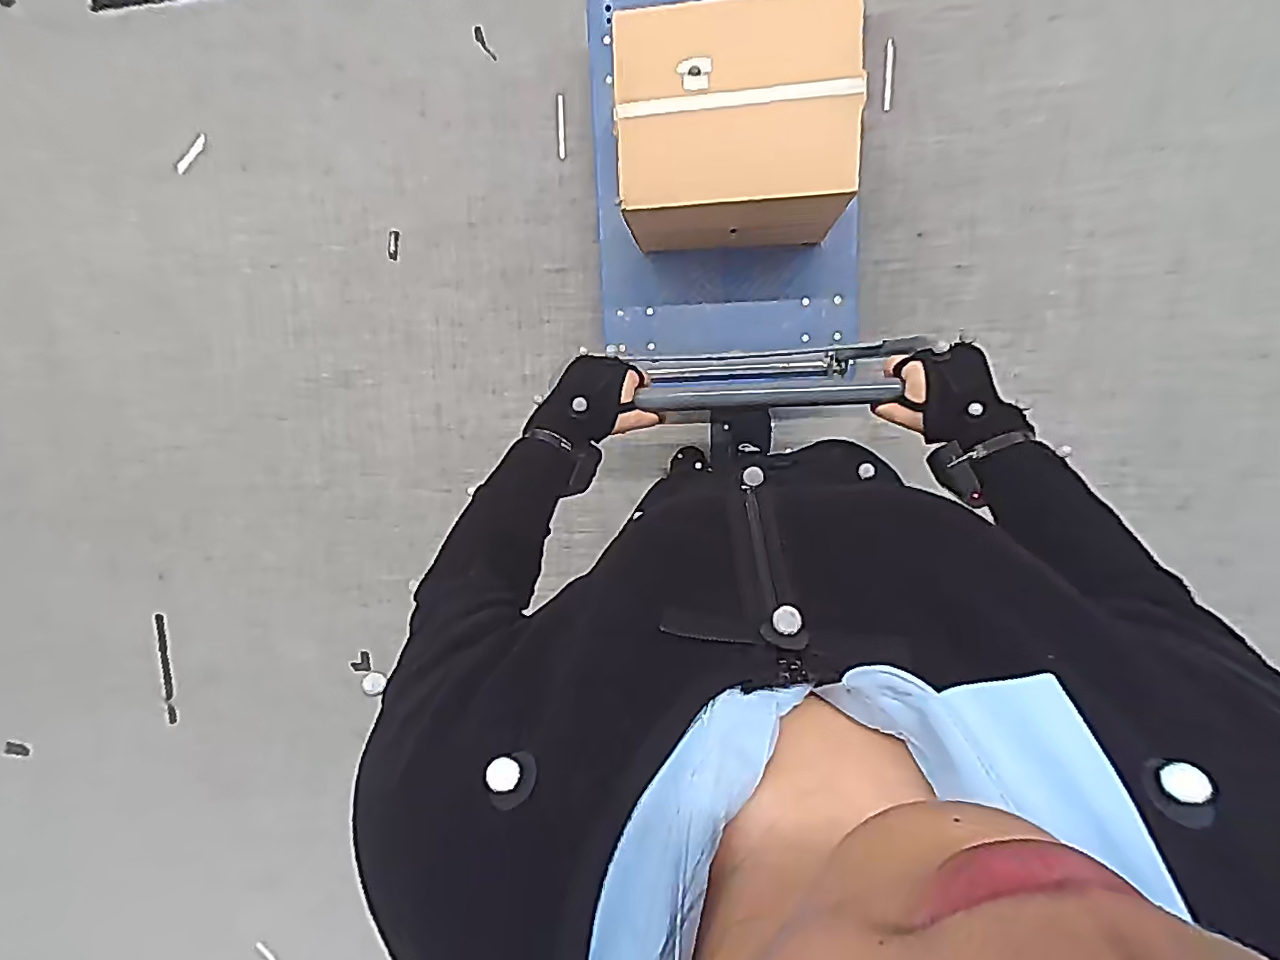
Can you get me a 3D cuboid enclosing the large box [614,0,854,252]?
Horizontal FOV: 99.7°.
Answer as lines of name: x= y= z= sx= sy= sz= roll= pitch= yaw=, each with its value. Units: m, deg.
large box: x=0.181 y=-0.659 z=1.067 sx=0.408 sy=0.320 sz=0.320 roll=-1 pitch=98 yaw=9
